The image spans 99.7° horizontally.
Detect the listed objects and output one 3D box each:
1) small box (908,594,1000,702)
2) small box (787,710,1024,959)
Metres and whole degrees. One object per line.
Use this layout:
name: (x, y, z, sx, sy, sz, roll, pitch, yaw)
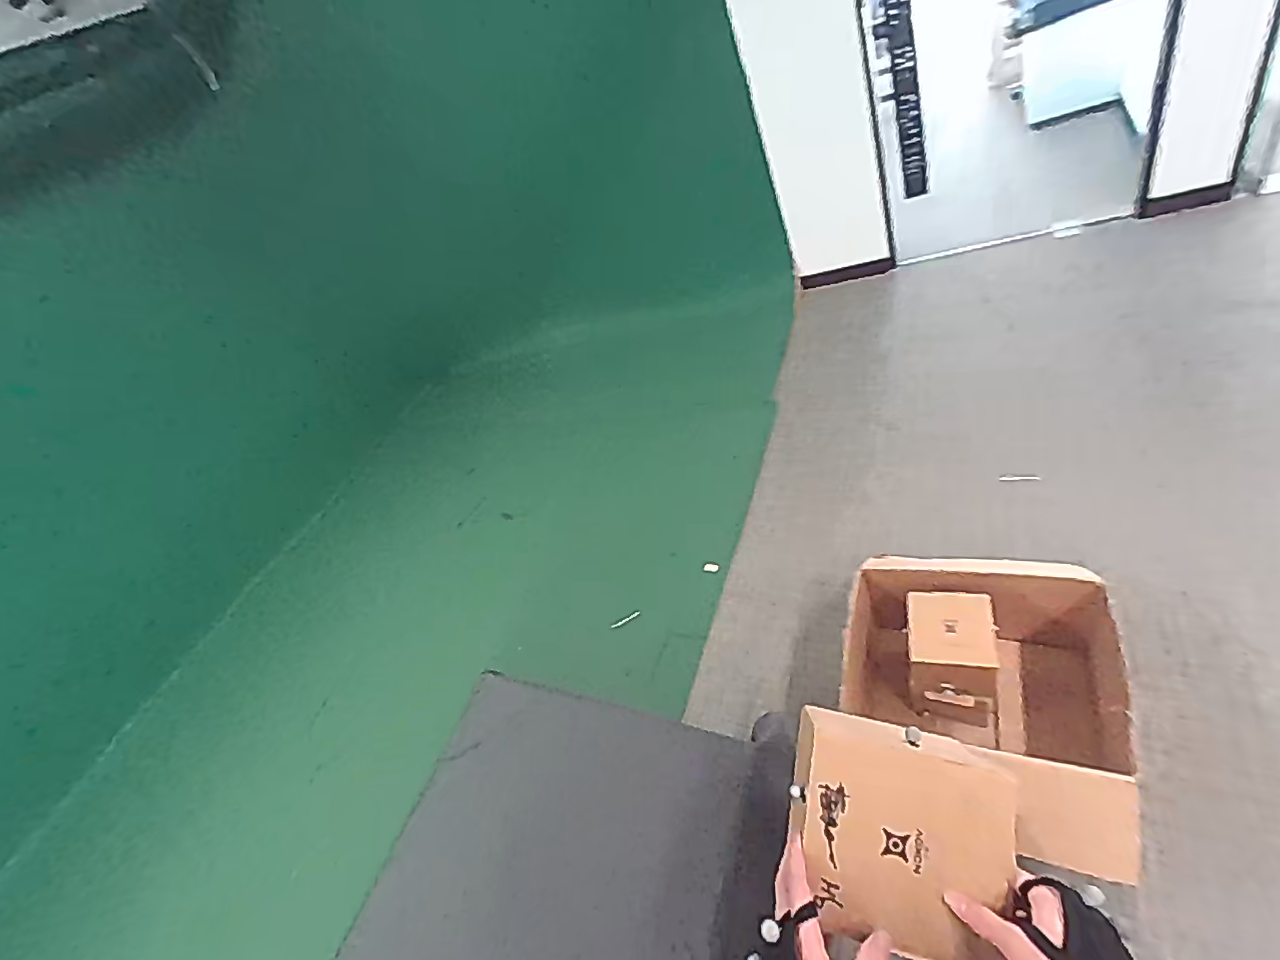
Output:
small box: (0.709, 0.380, 1.234, 0.168, 0.176, 0.179, -5, 47, 27)
small box: (0.254, 0.345, 0.553, 0.179, 0.176, 0.168, 9, 75, 15)
